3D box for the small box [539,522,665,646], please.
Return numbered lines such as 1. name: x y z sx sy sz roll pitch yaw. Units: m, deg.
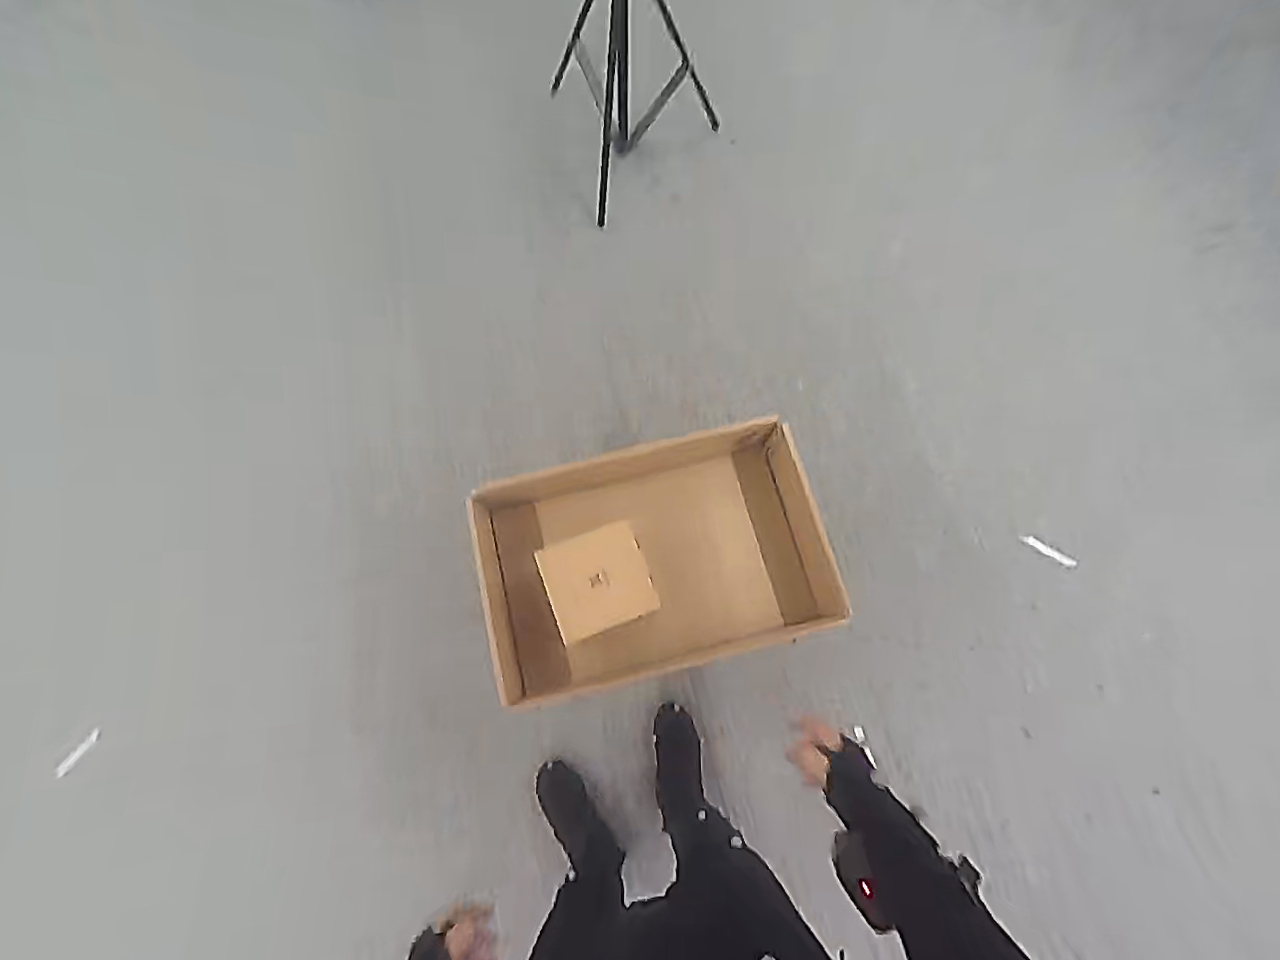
1. small box: -0.068 0.193 0.992 0.179 0.176 0.168 -20 75 -7
